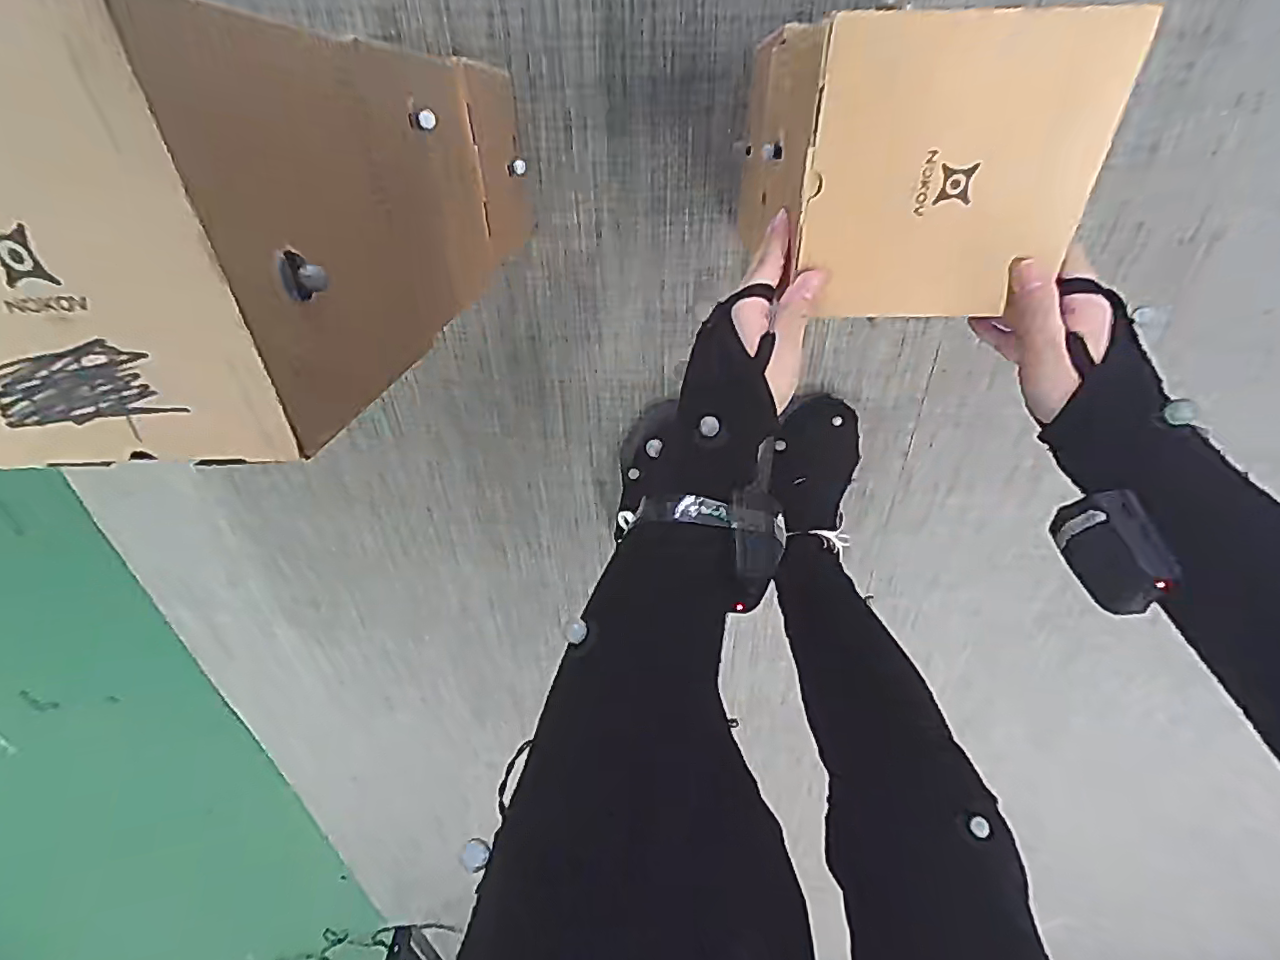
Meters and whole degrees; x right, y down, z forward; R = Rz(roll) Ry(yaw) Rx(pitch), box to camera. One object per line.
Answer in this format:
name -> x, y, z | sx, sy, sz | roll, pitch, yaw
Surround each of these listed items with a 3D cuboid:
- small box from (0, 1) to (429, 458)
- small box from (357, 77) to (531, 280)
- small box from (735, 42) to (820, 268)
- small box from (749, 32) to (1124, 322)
small box -> -0.239, -0.128, 0.297 | 0.168, 0.176, 0.179 | -1, 121, 4
small box -> -0.225, -0.313, 0.568 | 0.179, 0.176, 0.168 | 0, 122, 2
small box -> 0.191, -0.320, 0.545 | 0.168, 0.176, 0.179 | 1, 123, 1
small box -> 0.188, -0.227, 0.413 | 0.179, 0.176, 0.168 | 0, 123, 3
